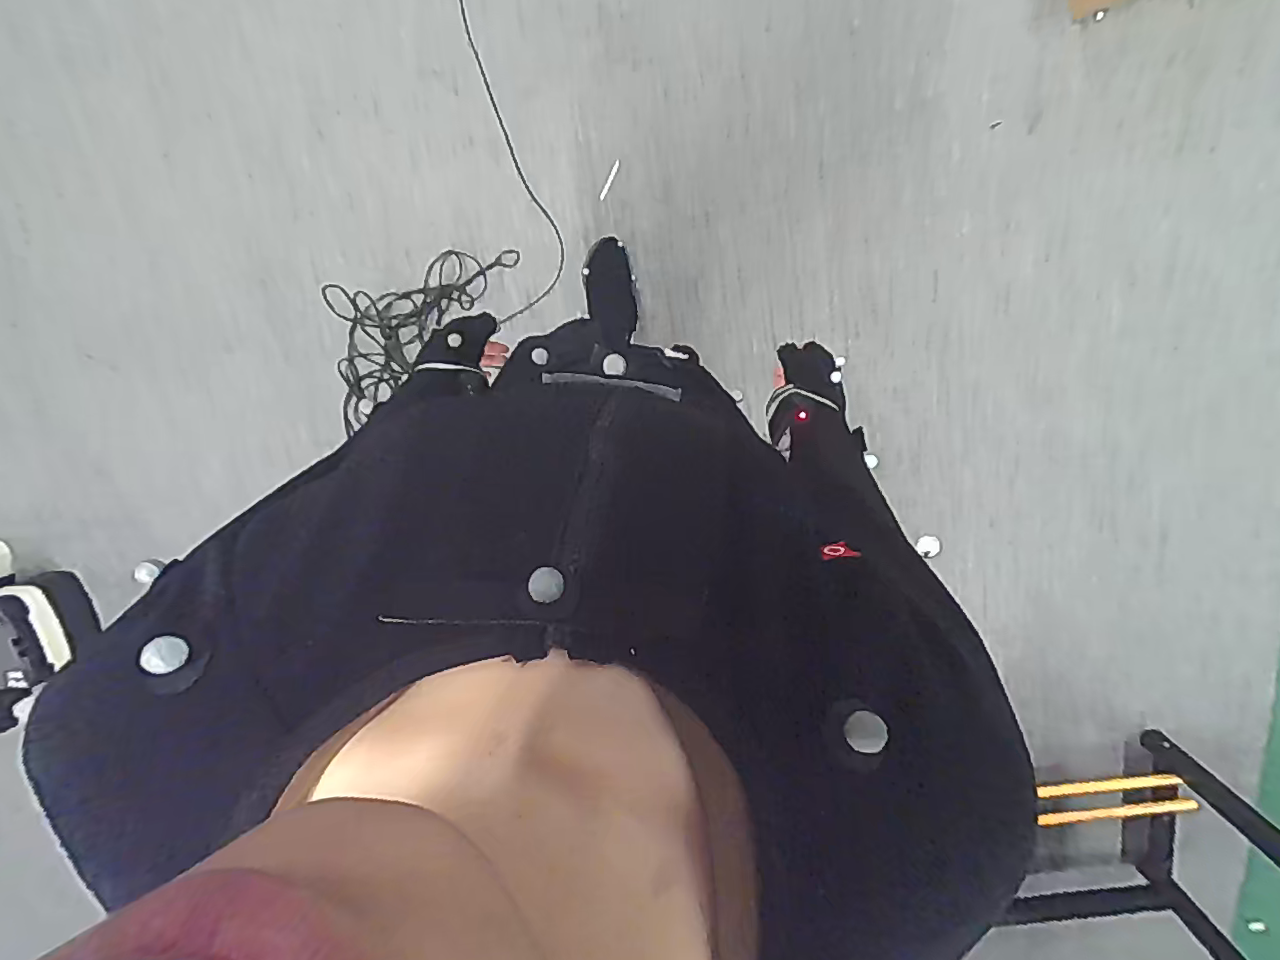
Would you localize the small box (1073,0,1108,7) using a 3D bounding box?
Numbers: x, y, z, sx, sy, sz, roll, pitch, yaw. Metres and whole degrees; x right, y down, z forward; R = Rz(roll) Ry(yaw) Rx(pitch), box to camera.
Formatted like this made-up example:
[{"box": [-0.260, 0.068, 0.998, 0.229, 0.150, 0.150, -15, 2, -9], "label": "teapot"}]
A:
[{"box": [0.967, -1.064, 1.038, 0.168, 0.176, 0.179, -18, 105, 7], "label": "small box"}]
